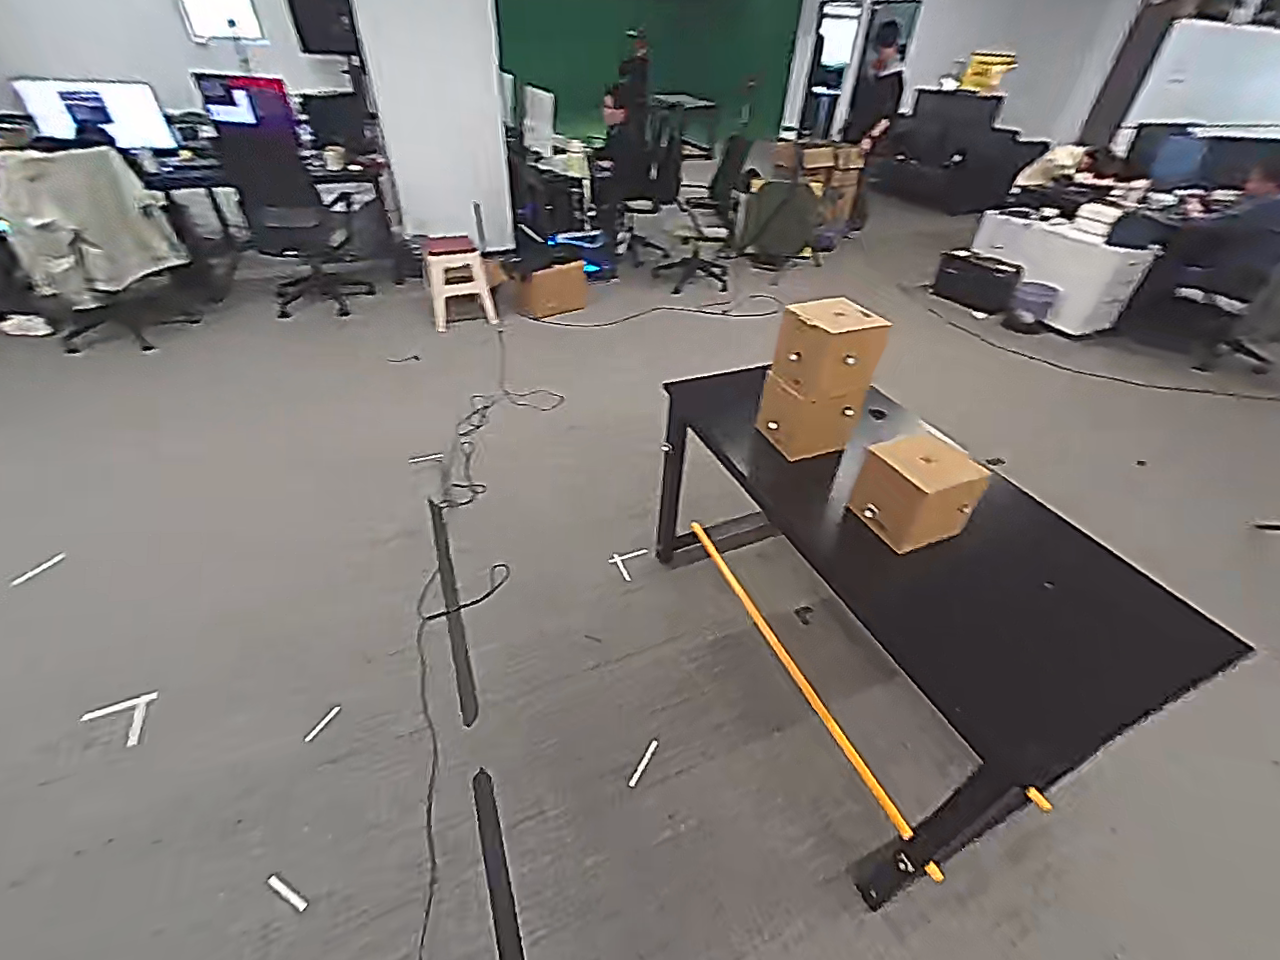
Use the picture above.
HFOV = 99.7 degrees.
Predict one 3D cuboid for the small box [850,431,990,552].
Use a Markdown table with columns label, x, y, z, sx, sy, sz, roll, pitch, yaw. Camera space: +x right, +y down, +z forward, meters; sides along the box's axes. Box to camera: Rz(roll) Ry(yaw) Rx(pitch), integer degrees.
| label | x | y | z | sx | sy | sz | roll | pitch | yaw |
| --- | --- | --- | --- | --- | --- | --- | --- | --- | --- |
| small box | 0.577 | 0.023 | 1.139 | 0.179 | 0.176 | 0.168 | -15 | 41 | -20 |

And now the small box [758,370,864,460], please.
| label | x | y | z | sx | sy | sz | roll | pitch | yaw |
| --- | --- | --- | --- | --- | --- | --- | --- | --- | --- |
| small box | 0.422 | -0.174 | 1.366 | 0.179 | 0.176 | 0.168 | -13 | 41 | -18 |

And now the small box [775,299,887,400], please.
| label | x | y | z | sx | sy | sz | roll | pitch | yaw |
| --- | --- | --- | --- | --- | --- | --- | --- | --- | --- |
| small box | 0.436 | -0.304 | 1.267 | 0.179 | 0.176 | 0.168 | -15 | 43 | -20 |
